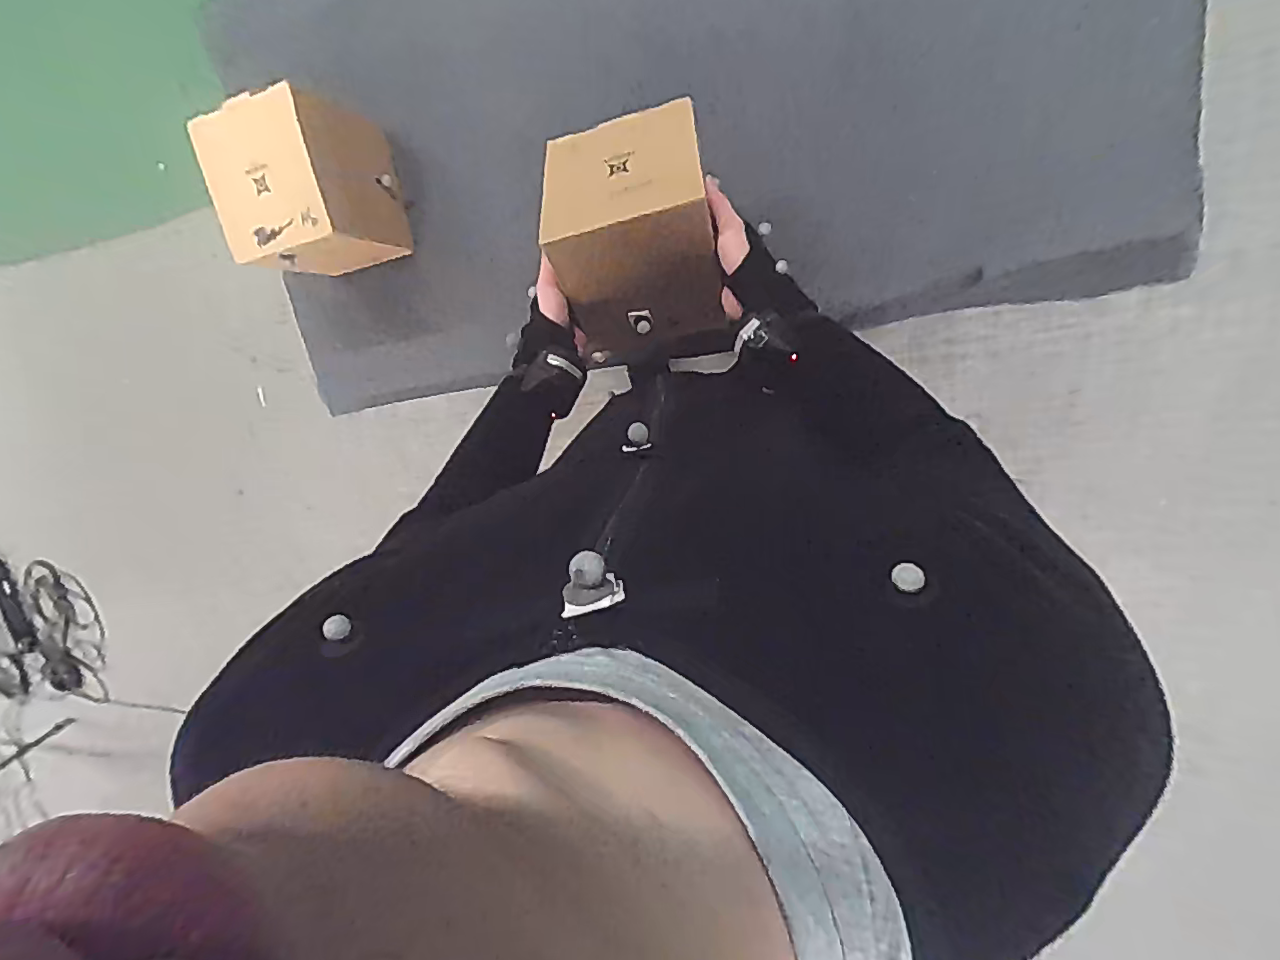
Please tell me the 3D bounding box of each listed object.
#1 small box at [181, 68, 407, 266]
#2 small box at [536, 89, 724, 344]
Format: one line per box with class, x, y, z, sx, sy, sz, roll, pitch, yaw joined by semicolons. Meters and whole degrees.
small box;-0.456;-0.408;0.740;0.168;0.176;0.179;-7;104;17
small box;-0.004;-0.285;0.609;0.168;0.176;0.179;-10;62;12
